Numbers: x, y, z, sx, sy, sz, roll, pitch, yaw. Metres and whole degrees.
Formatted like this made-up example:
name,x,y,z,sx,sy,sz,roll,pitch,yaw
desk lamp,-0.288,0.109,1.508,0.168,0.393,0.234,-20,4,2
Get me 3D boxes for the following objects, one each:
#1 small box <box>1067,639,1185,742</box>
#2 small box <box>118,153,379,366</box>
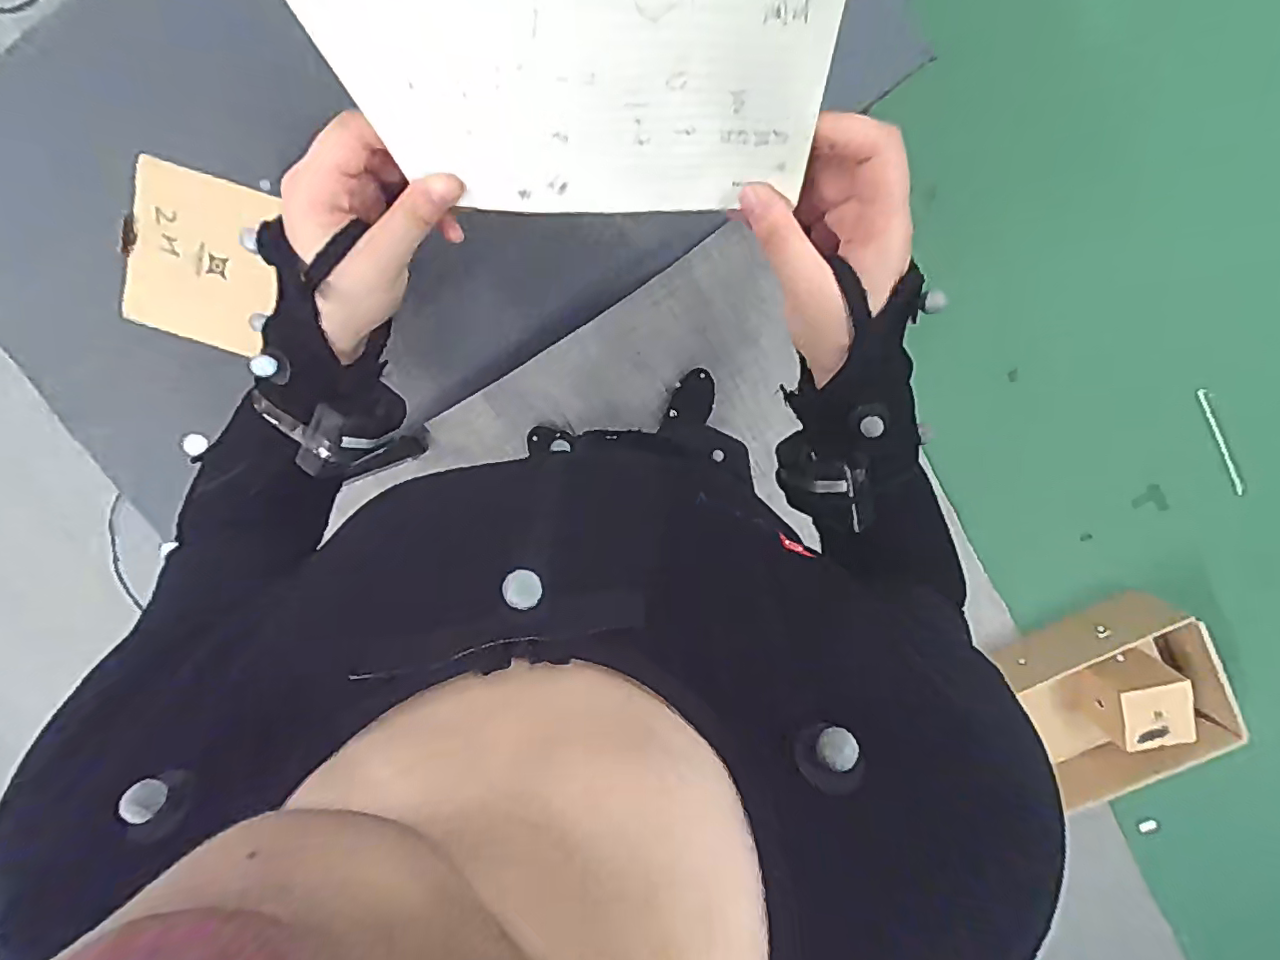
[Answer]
name,x,y,z,sx,sy,sz,roll,pitch,yaw
small box,1.274,0.550,1.428,0.168,0.176,0.179,-14,102,6
small box,-0.435,-0.238,0.628,0.179,0.176,0.168,18,101,-1
